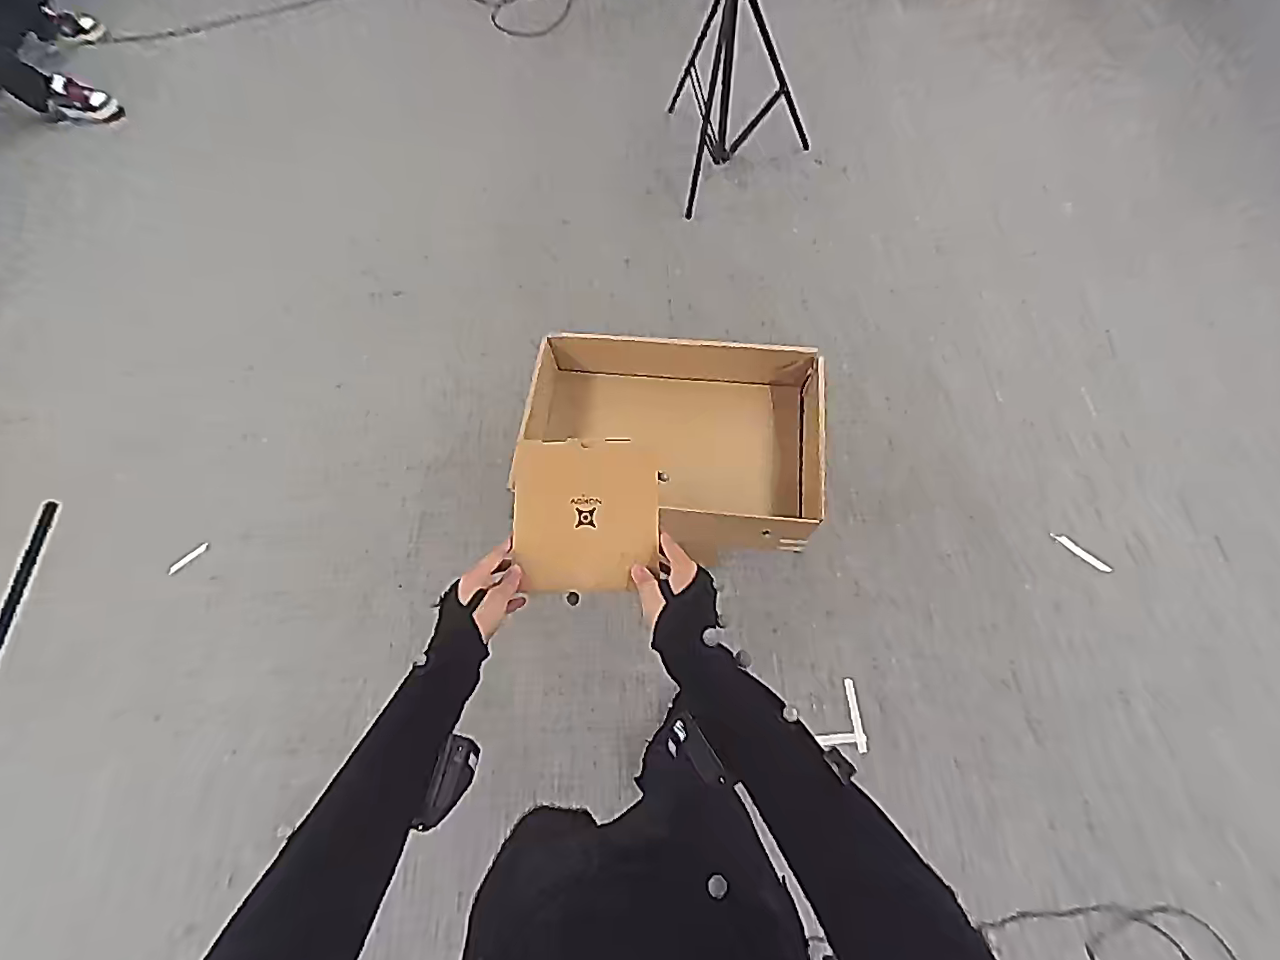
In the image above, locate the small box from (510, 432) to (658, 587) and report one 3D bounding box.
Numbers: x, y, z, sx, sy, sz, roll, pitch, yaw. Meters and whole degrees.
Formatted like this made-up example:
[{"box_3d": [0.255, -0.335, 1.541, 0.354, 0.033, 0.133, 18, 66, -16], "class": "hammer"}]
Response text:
[{"box_3d": [-0.061, 0.046, 0.685, 0.168, 0.176, 0.179, -1, 78, -1], "class": "small box"}]
